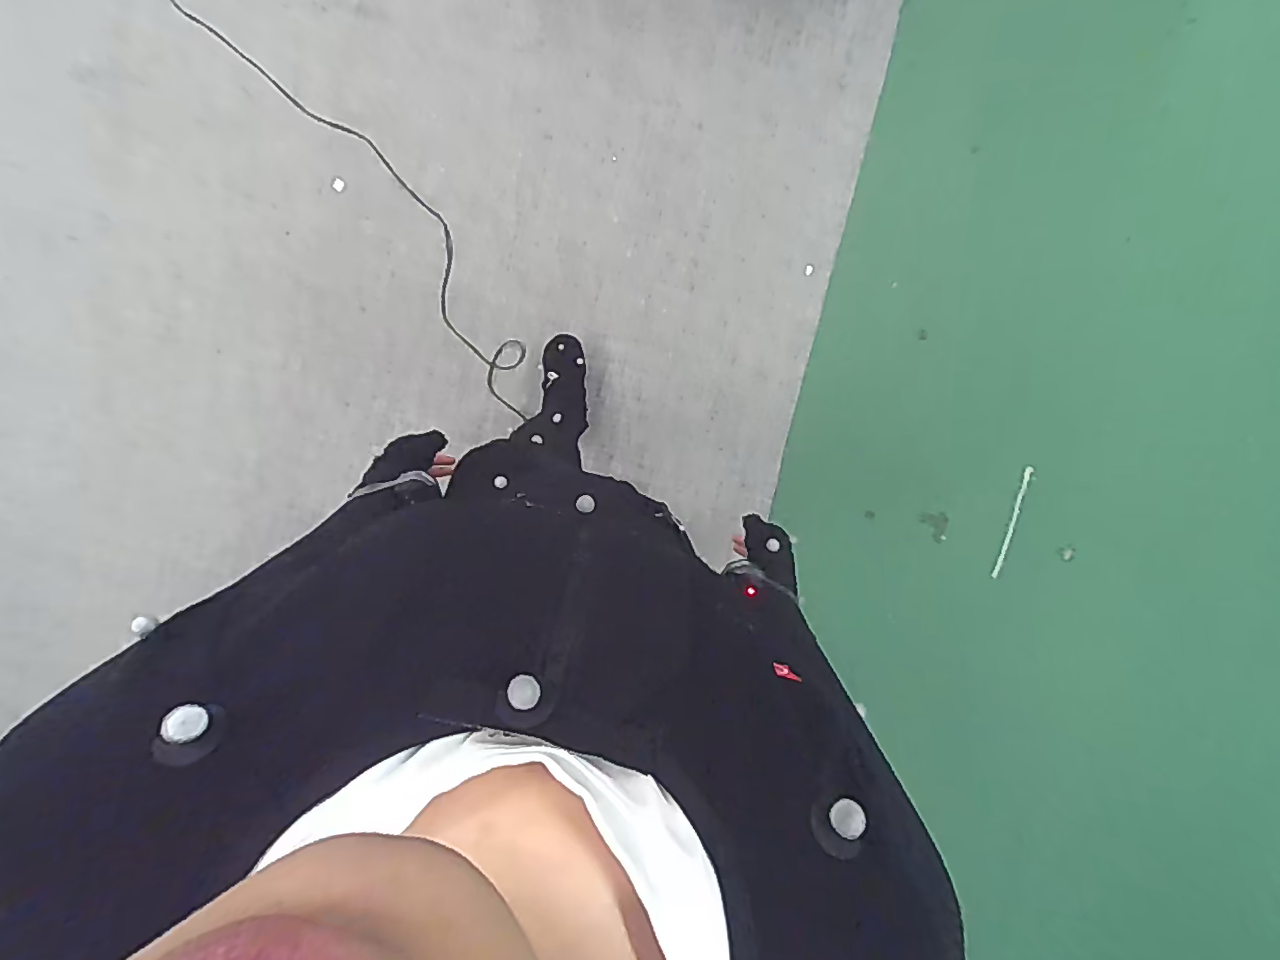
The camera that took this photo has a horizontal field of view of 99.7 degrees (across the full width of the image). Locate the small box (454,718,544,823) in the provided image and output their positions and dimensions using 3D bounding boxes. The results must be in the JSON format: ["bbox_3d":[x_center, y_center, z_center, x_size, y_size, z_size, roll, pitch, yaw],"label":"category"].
[{"bbox_3d":[-0.350,0.725,1.366,0.179,0.176,0.168,5,94,0],"label":"small box"}]
